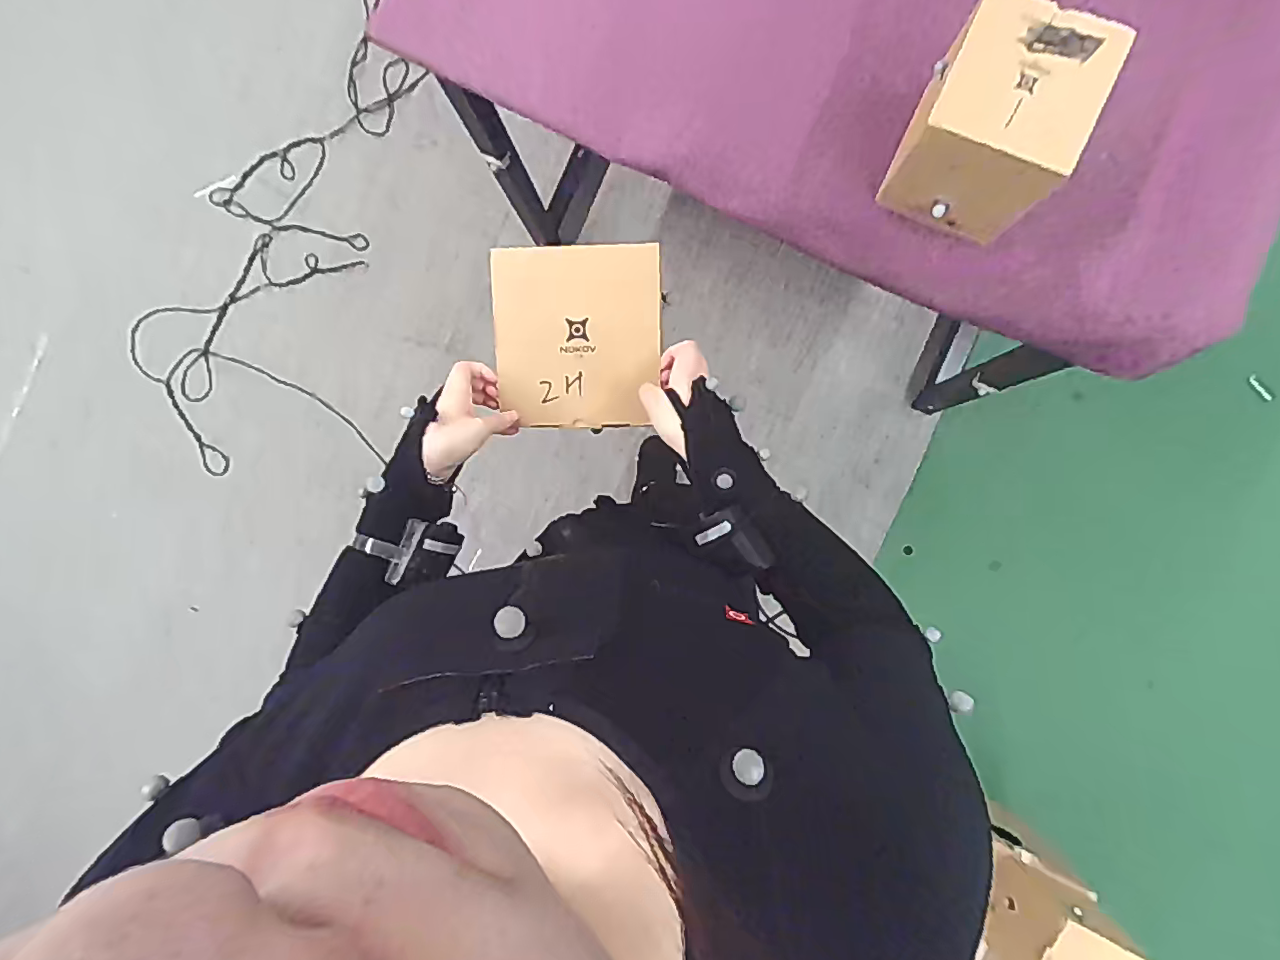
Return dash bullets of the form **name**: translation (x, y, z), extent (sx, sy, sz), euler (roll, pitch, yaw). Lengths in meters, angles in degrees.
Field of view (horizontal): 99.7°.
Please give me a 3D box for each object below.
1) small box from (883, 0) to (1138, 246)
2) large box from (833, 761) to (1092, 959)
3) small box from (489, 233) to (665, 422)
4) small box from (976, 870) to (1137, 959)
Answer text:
- **small box**: translation (0.428, -0.428, 0.660), extent (0.168, 0.176, 0.179), euler (25, 90, 5)
- **large box**: translation (0.708, 0.964, 1.253), extent (0.320, 0.320, 0.408), euler (26, 91, 6)
- **small box**: translation (-0.058, -0.157, 0.597), extent (0.168, 0.176, 0.179), euler (1, 100, 4)
- **small box**: translation (0.780, 0.883, 1.006), extent (0.179, 0.176, 0.168), euler (27, 91, 5)
